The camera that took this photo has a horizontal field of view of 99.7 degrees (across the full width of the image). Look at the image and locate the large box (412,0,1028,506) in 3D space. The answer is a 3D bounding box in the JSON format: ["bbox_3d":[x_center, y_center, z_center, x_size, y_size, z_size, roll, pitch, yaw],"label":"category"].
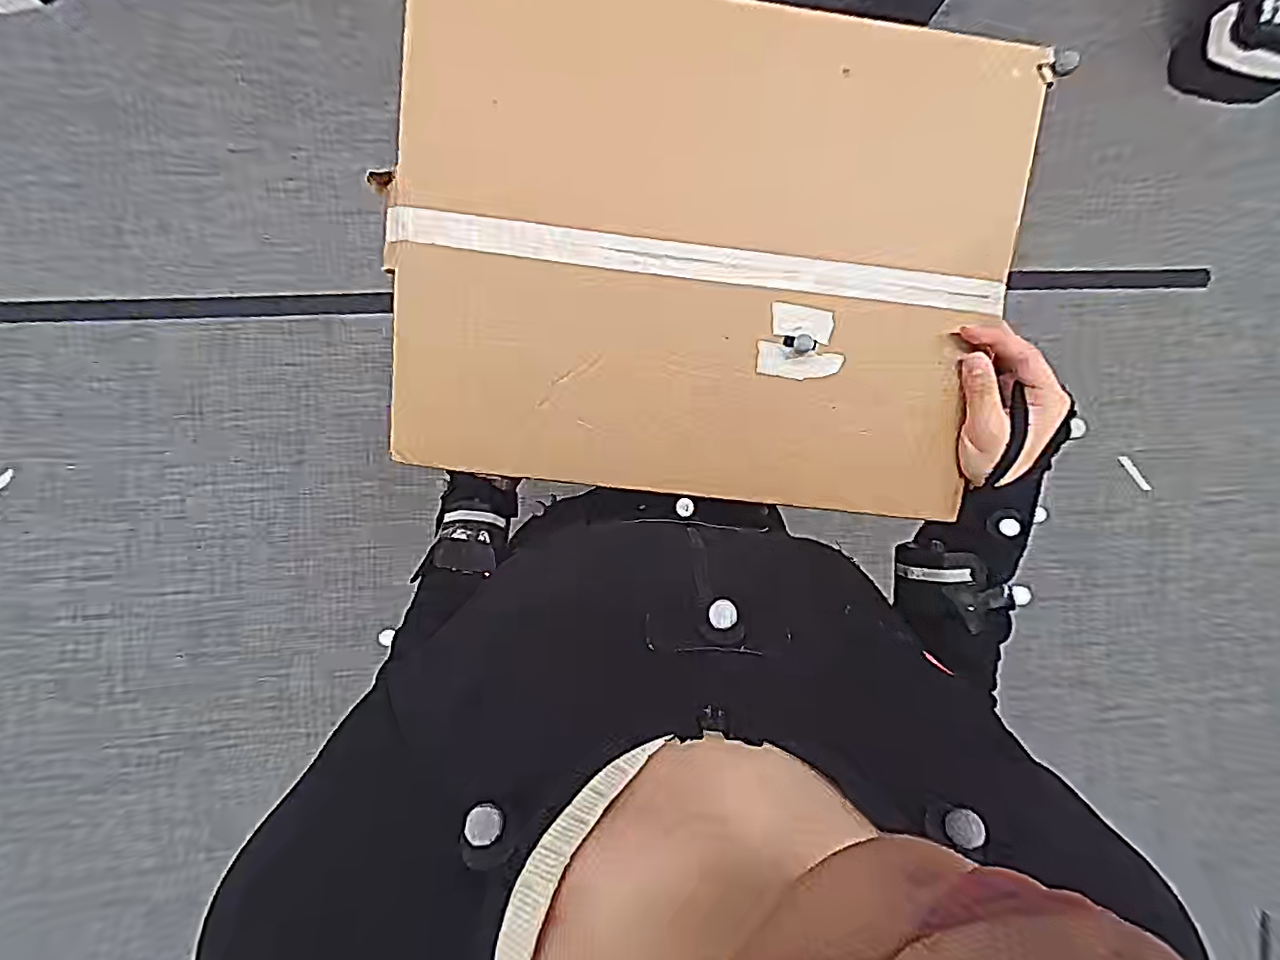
[{"bbox_3d":[0.040,-0.168,0.514,0.408,0.320,0.320,5,100,-4],"label":"large box"}]
